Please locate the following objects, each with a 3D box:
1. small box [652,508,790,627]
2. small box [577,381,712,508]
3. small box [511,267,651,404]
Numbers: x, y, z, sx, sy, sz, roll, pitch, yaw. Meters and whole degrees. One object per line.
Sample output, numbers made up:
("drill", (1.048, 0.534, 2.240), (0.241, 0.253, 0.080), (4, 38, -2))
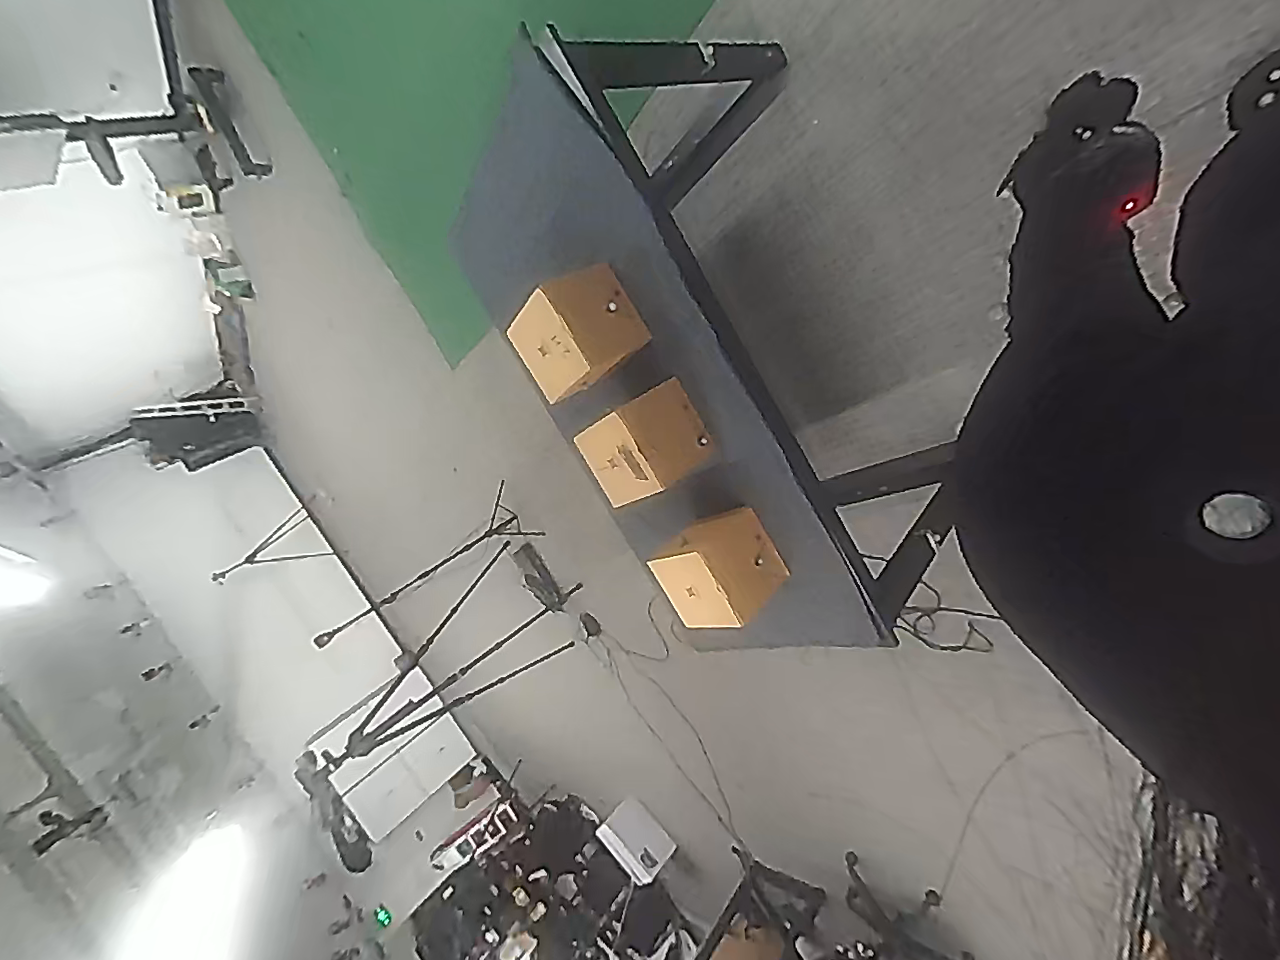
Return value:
("small box", (0.163, 0.177, 1.084), (0.179, 0.176, 0.168), (-25, 98, 54))
("small box", (0.016, -0.070, 1.054), (0.179, 0.176, 0.168), (-23, 100, 54))
("small box", (-0.112, -0.275, 1.033), (0.179, 0.176, 0.168), (-26, 98, 54))
